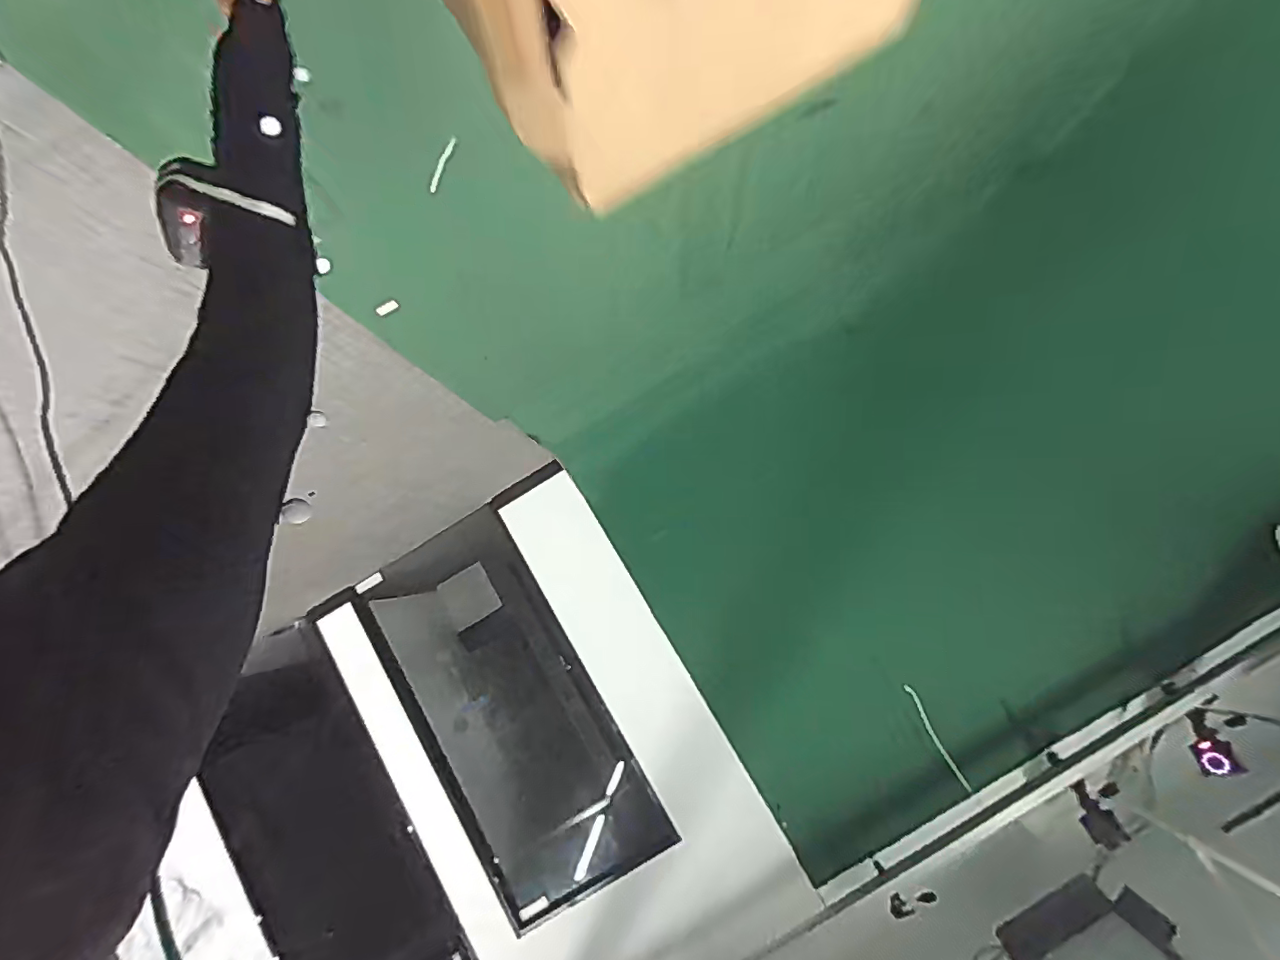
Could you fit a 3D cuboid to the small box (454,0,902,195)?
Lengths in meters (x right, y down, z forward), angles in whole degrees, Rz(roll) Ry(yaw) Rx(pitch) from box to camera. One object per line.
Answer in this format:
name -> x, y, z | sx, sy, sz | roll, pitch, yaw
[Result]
small box -> 0.004, -0.252, 0.182 | 0.179, 0.176, 0.168 | -31, 173, -3
